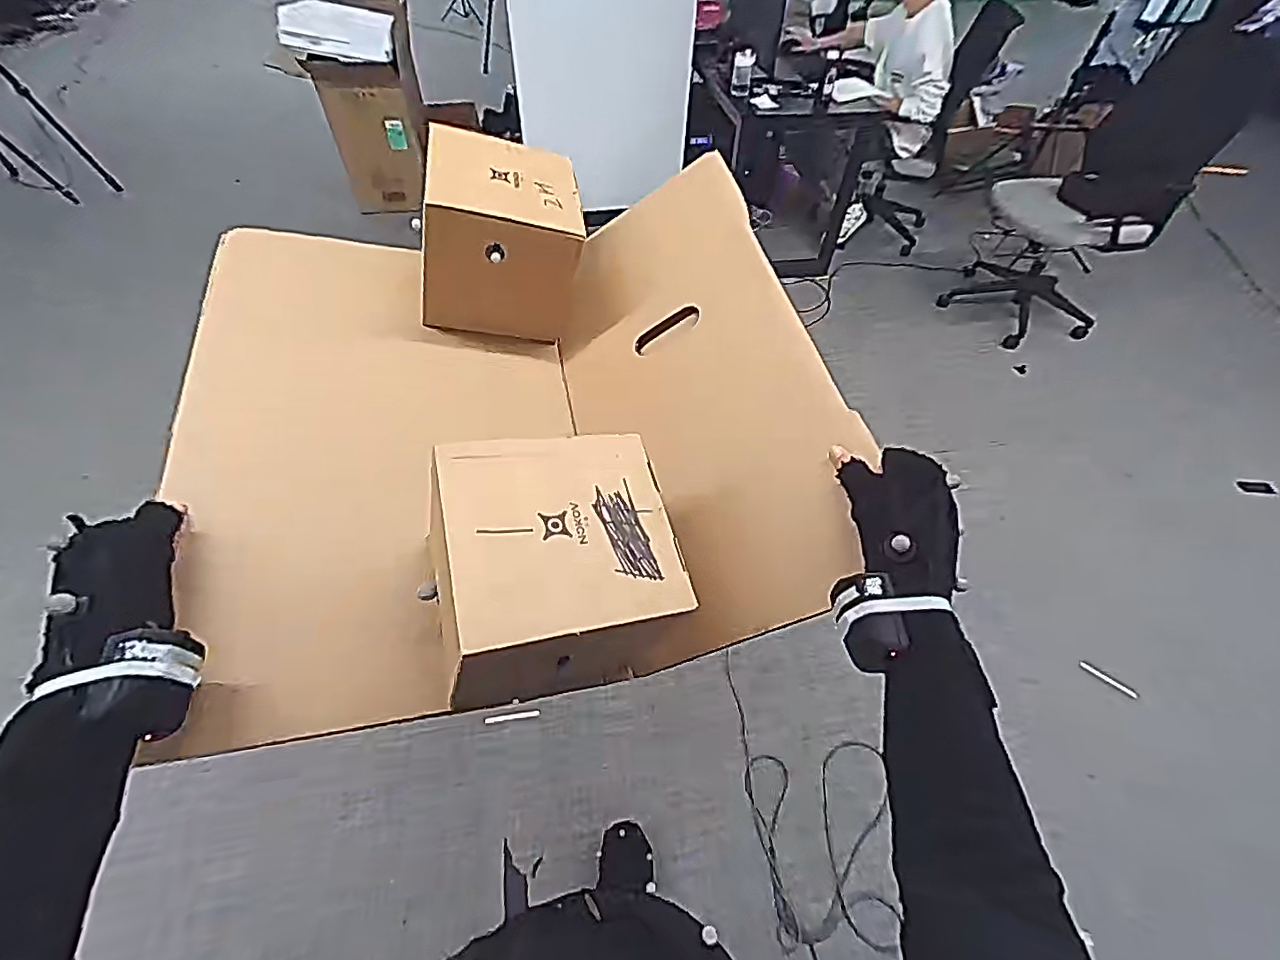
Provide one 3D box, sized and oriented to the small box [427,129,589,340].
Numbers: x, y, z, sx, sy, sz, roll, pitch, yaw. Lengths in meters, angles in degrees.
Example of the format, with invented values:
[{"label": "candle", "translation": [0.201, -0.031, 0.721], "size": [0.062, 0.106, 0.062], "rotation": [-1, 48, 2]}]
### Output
[{"label": "small box", "translation": [-0.175, -0.302, 0.693], "size": [0.179, 0.176, 0.168], "rotation": [4, 57, -21]}]
